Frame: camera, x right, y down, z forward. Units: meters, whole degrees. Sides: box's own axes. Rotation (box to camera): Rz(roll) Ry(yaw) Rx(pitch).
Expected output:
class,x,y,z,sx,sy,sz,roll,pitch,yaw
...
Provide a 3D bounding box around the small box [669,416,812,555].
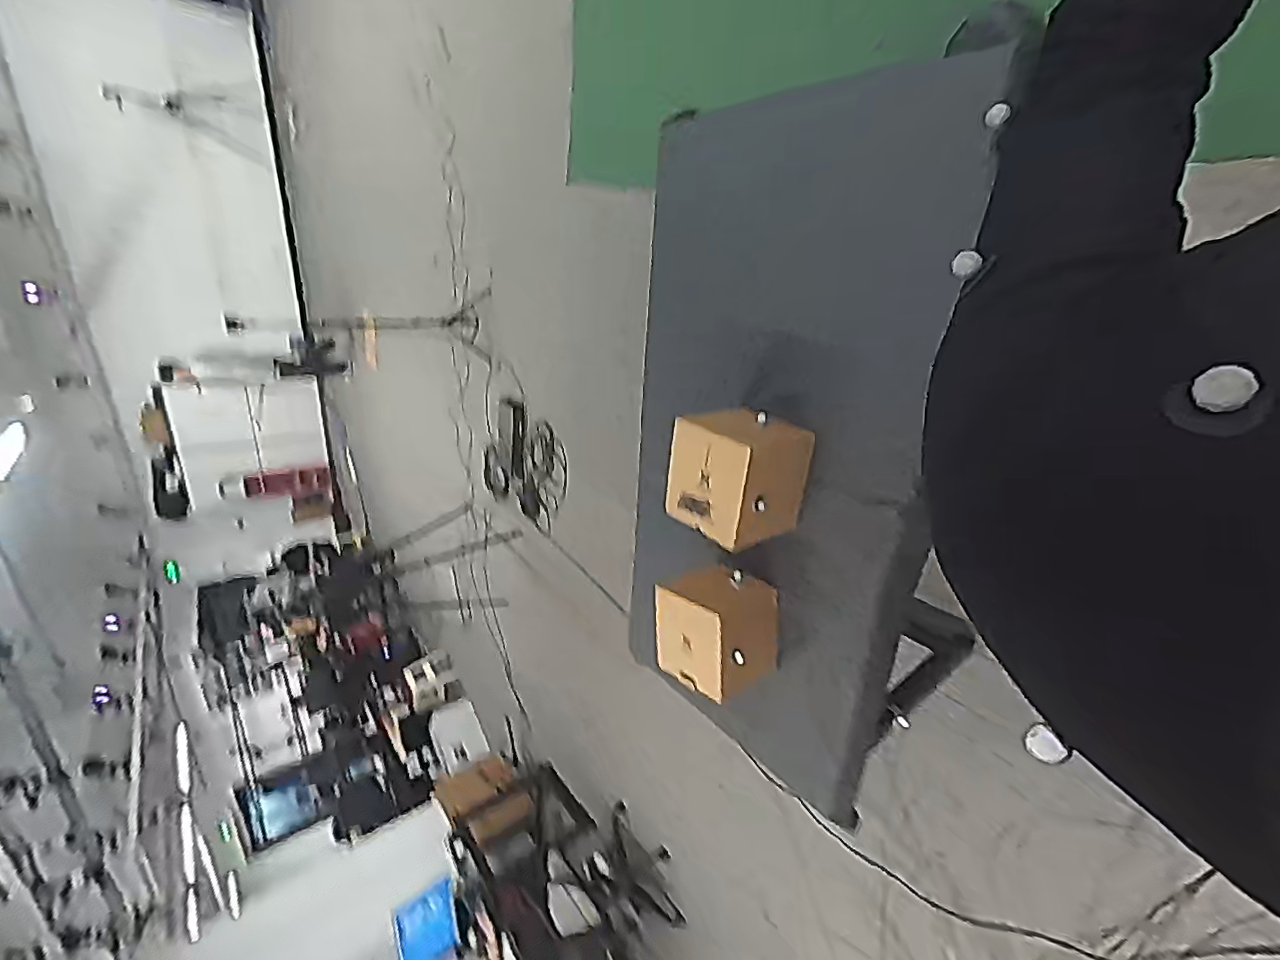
class,x,y,z,sx,sy,sz,roll,pitch,yaw
small box,0.171,0.000,0.929,0.168,0.176,0.179,28,121,44

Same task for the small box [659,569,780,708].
class,x,y,z,sx,sy,sz,roll,pitch,yaw
small box,0.154,0.294,1.044,0.168,0.176,0.179,15,111,48
